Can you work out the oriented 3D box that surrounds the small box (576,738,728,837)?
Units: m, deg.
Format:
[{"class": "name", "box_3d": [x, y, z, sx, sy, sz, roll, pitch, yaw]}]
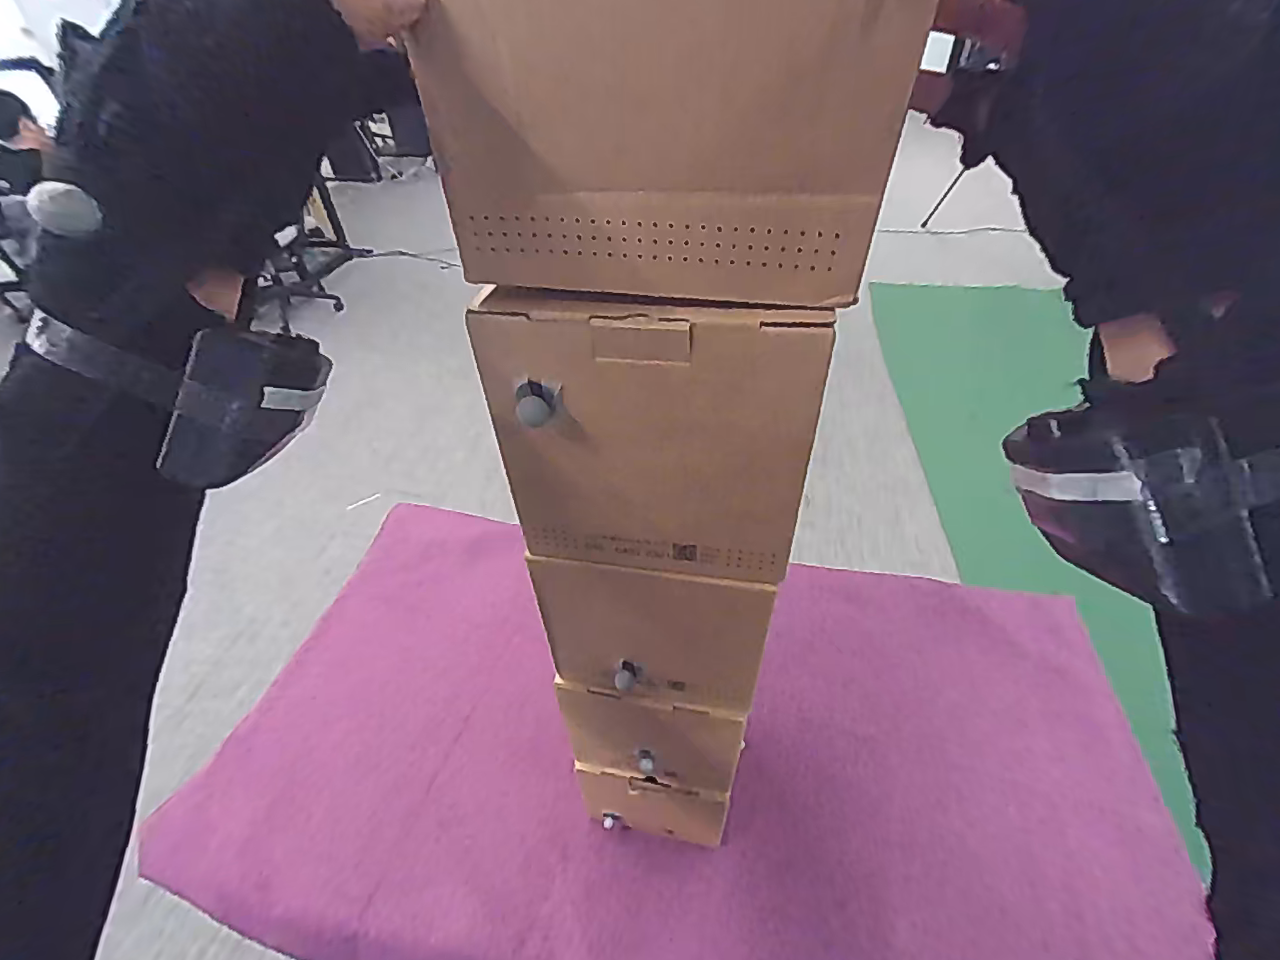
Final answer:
[{"class": "small box", "box_3d": [0.031, 0.313, 0.674, 0.168, 0.176, 0.179, 7, 42, 10]}]

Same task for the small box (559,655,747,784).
[{"class": "small box", "box_3d": [0.027, 0.186, 0.571, 0.168, 0.176, 0.179, 7, 43, 10]}]

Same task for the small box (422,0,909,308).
[{"class": "small box", "box_3d": [0.014, -0.193, 0.246, 0.179, 0.176, 0.168, 7, 45, 7]}]

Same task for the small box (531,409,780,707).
[{"class": "small box", "box_3d": [0.023, 0.062, 0.465, 0.168, 0.176, 0.179, 6, 43, 10]}]
